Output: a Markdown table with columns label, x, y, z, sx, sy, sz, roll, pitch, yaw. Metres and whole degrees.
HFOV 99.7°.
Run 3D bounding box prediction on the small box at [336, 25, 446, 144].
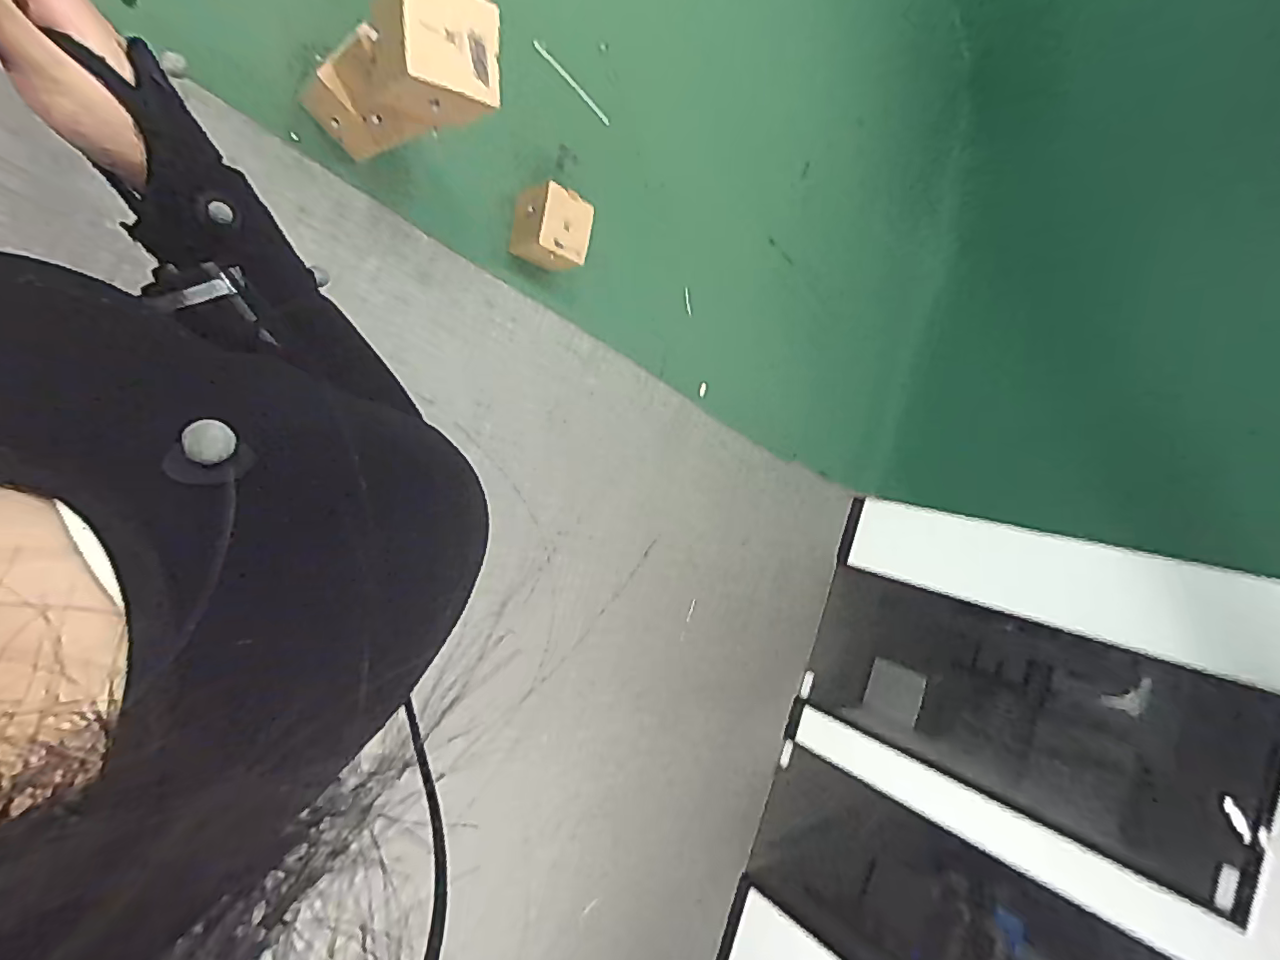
| label | x | y | z | sx | sy | sz | roll | pitch | yaw |
| --- | --- | --- | --- | --- | --- | --- | --- | --- | --- |
| small box | -0.490 | -0.817 | 1.110 | 0.179 | 0.176 | 0.168 | -44 | 130 | -29 |

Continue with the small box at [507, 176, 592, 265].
| label | x | y | z | sx | sy | sz | roll | pitch | yaw |
| --- | --- | --- | --- | --- | --- | --- | --- | --- | --- |
| small box | -0.269 | -0.752 | 1.588 | 0.168 | 0.176 | 0.179 | 8 | 95 | -47 |

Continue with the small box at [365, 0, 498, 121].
| label | x | y | z | sx | sy | sz | roll | pitch | yaw |
| --- | --- | --- | --- | --- | --- | --- | --- | --- | --- |
| small box | -0.380 | -0.788 | 0.991 | 0.179 | 0.176 | 0.168 | -10 | 110 | -43 |

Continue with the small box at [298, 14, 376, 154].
| label | x | y | z | sx | sy | sz | roll | pitch | yaw |
| --- | --- | --- | --- | --- | --- | --- | --- | --- | --- |
| small box | -0.622 | -0.863 | 1.199 | 0.168 | 0.176 | 0.179 | 45 | 69 | -43 |
